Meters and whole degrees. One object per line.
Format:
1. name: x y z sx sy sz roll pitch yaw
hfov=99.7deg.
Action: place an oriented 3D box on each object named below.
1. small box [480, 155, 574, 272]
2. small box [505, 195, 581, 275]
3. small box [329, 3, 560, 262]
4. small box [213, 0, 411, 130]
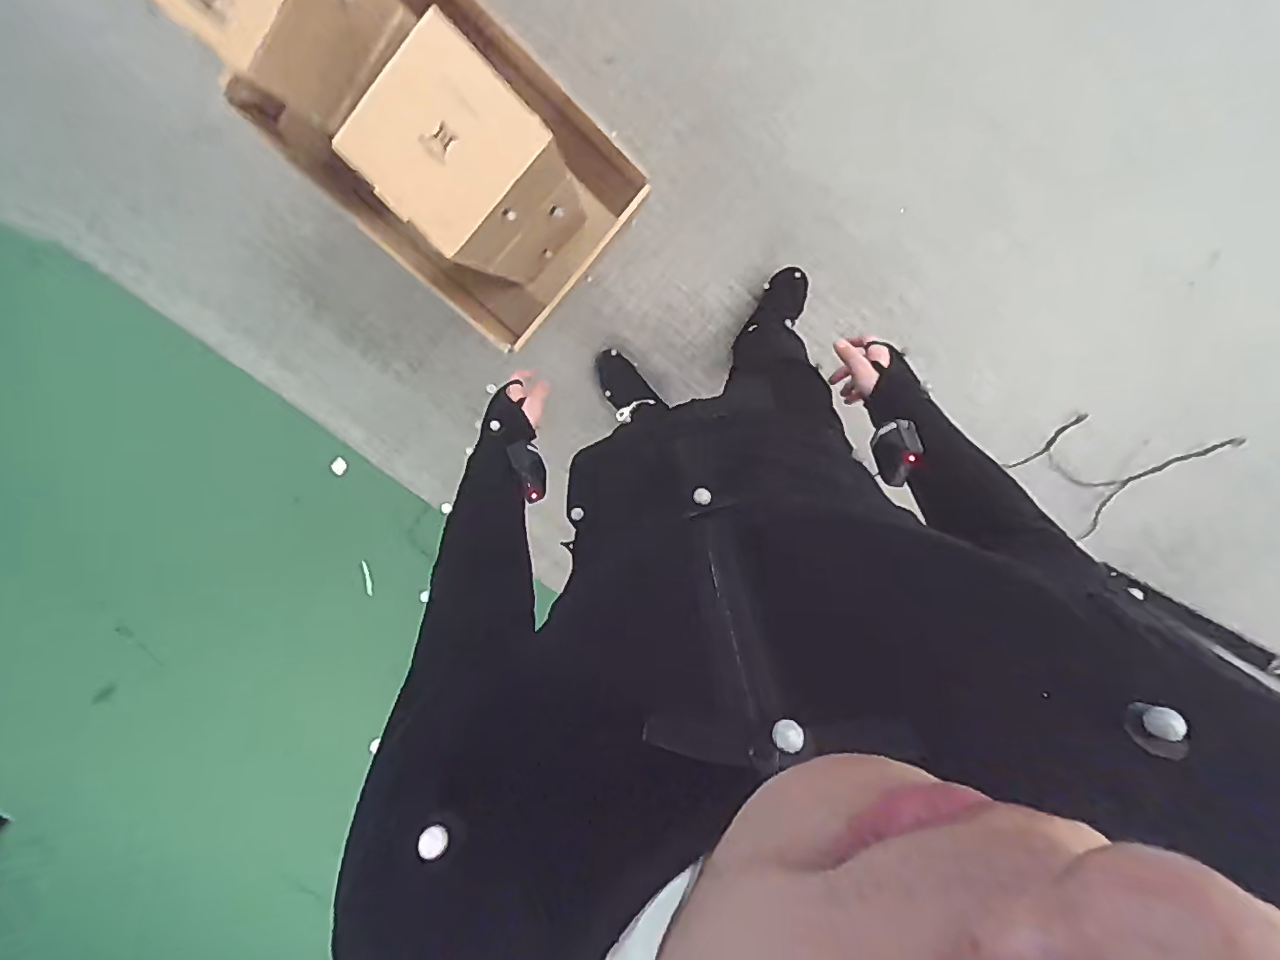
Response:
1. small box: -0.213 -0.435 0.800 0.168 0.176 0.179 43 102 -12
2. small box: -0.221 -0.485 0.957 0.168 0.176 0.179 42 103 -13
3. small box: -0.213 -0.385 0.645 0.179 0.176 0.168 -43 104 11
4. small box: -0.418 -0.601 0.746 0.168 0.176 0.179 39 105 -13
